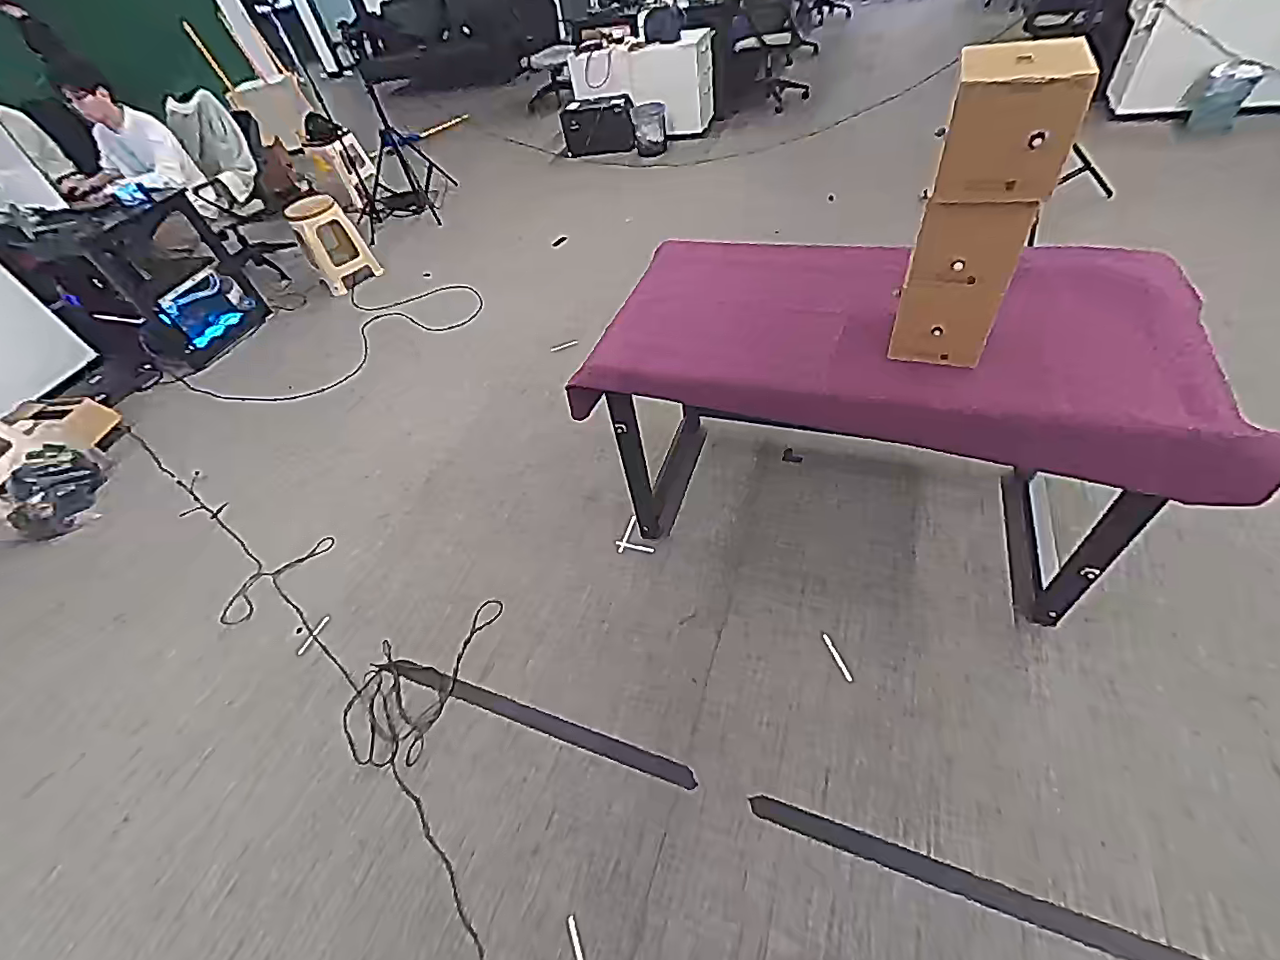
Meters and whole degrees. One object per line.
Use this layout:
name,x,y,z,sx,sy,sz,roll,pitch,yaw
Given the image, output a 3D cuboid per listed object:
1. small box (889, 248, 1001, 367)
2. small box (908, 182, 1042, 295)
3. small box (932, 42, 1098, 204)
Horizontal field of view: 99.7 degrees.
small box,0.617,-0.351,1.098,0.168,0.176,0.179,13,53,21
small box,0.597,-0.460,0.977,0.168,0.176,0.179,13,54,21
small box,0.568,-0.549,0.843,0.168,0.176,0.179,11,52,19
